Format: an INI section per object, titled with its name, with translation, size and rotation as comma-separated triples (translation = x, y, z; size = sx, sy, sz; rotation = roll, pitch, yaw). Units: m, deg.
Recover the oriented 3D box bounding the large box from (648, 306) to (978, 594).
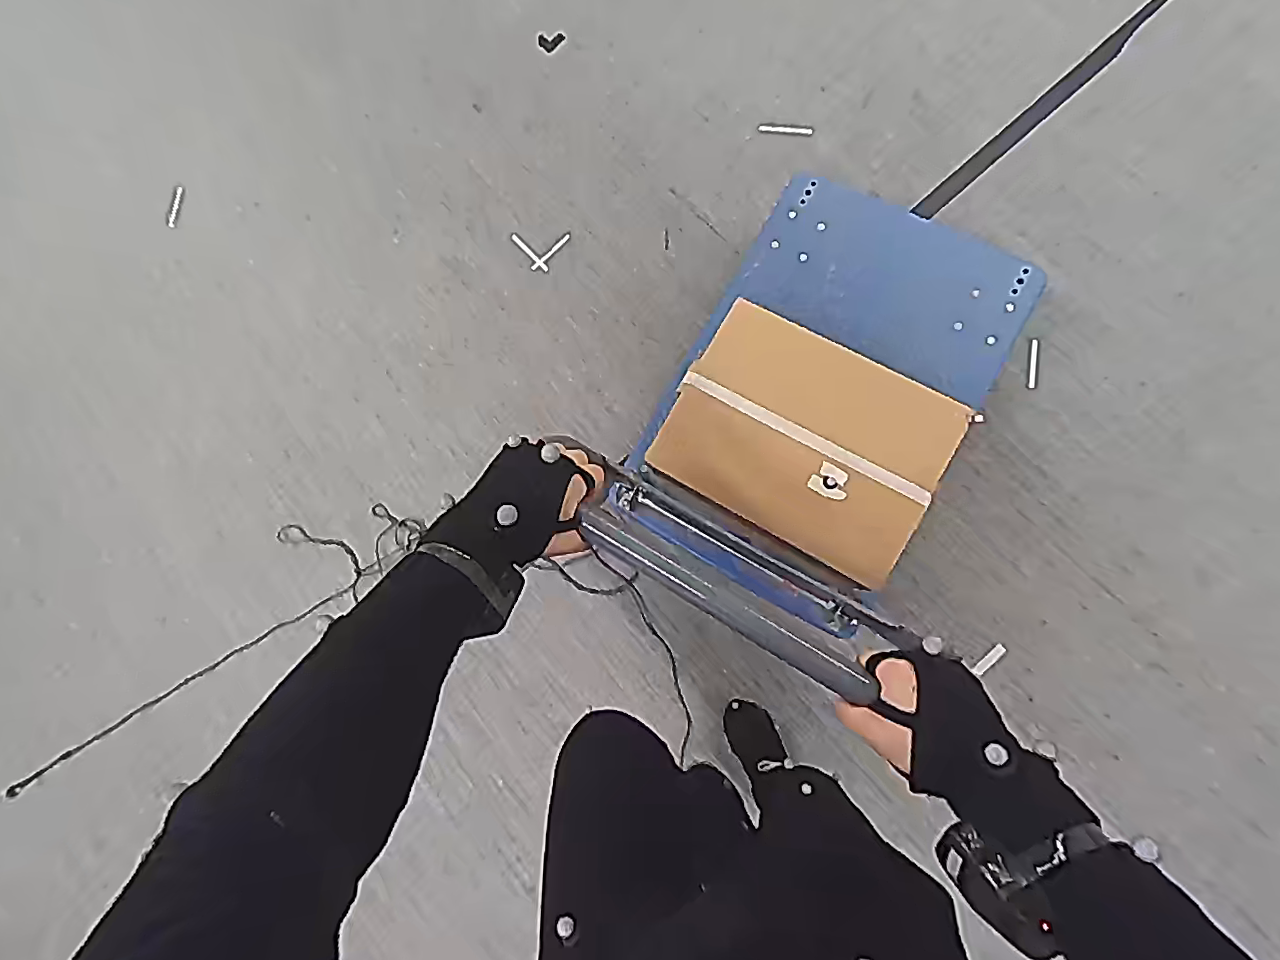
[large box]
translation = 0.270, -0.036, 0.962
size = 0.408, 0.320, 0.320
rotation = 30, 87, 10
